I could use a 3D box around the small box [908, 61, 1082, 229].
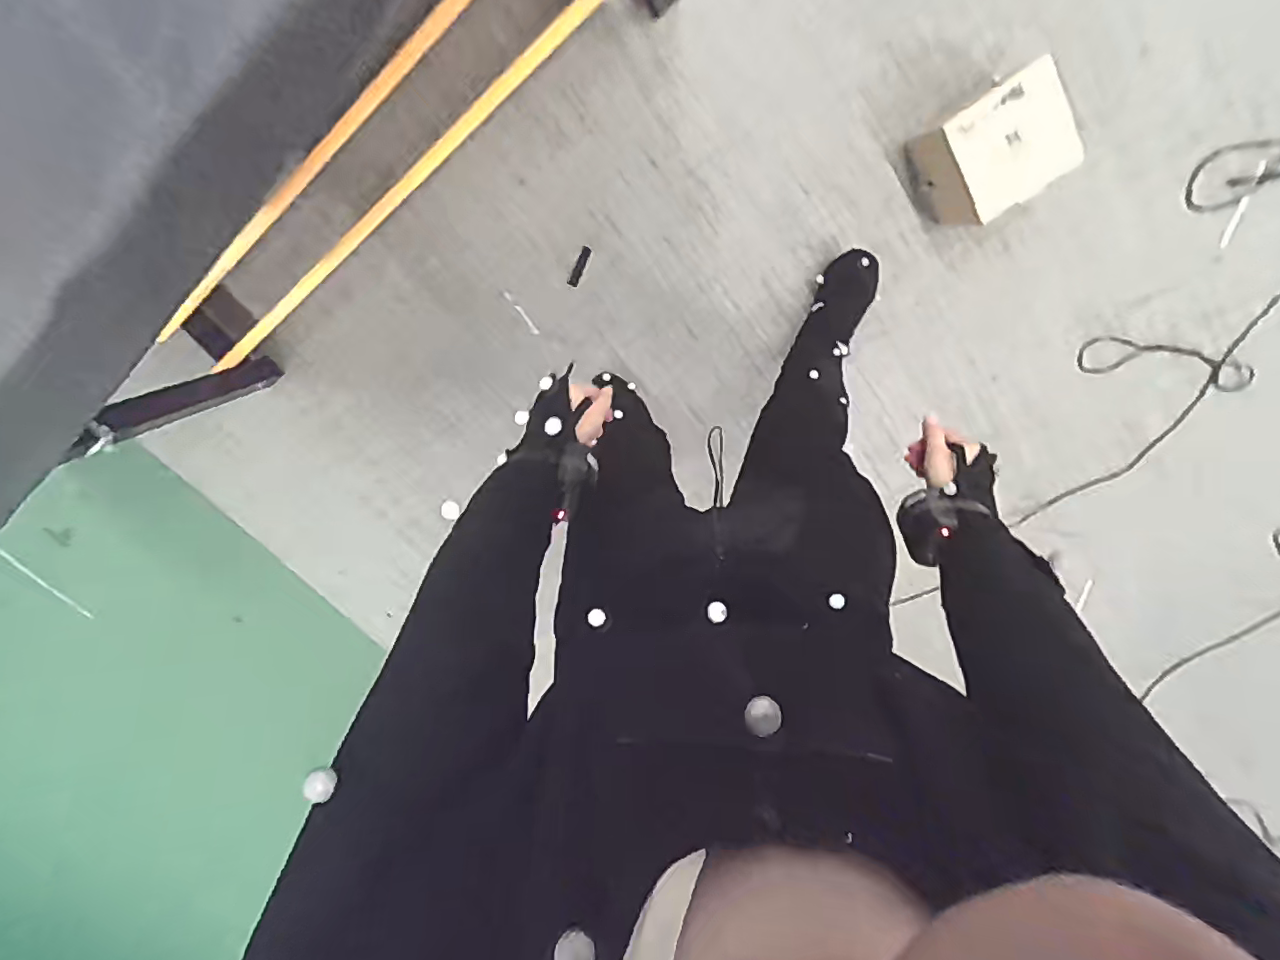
[{"bbox_3d":[0.598,-0.561,0.930,0.168,0.176,0.179,-31,109,16],"label":"small box"}]
